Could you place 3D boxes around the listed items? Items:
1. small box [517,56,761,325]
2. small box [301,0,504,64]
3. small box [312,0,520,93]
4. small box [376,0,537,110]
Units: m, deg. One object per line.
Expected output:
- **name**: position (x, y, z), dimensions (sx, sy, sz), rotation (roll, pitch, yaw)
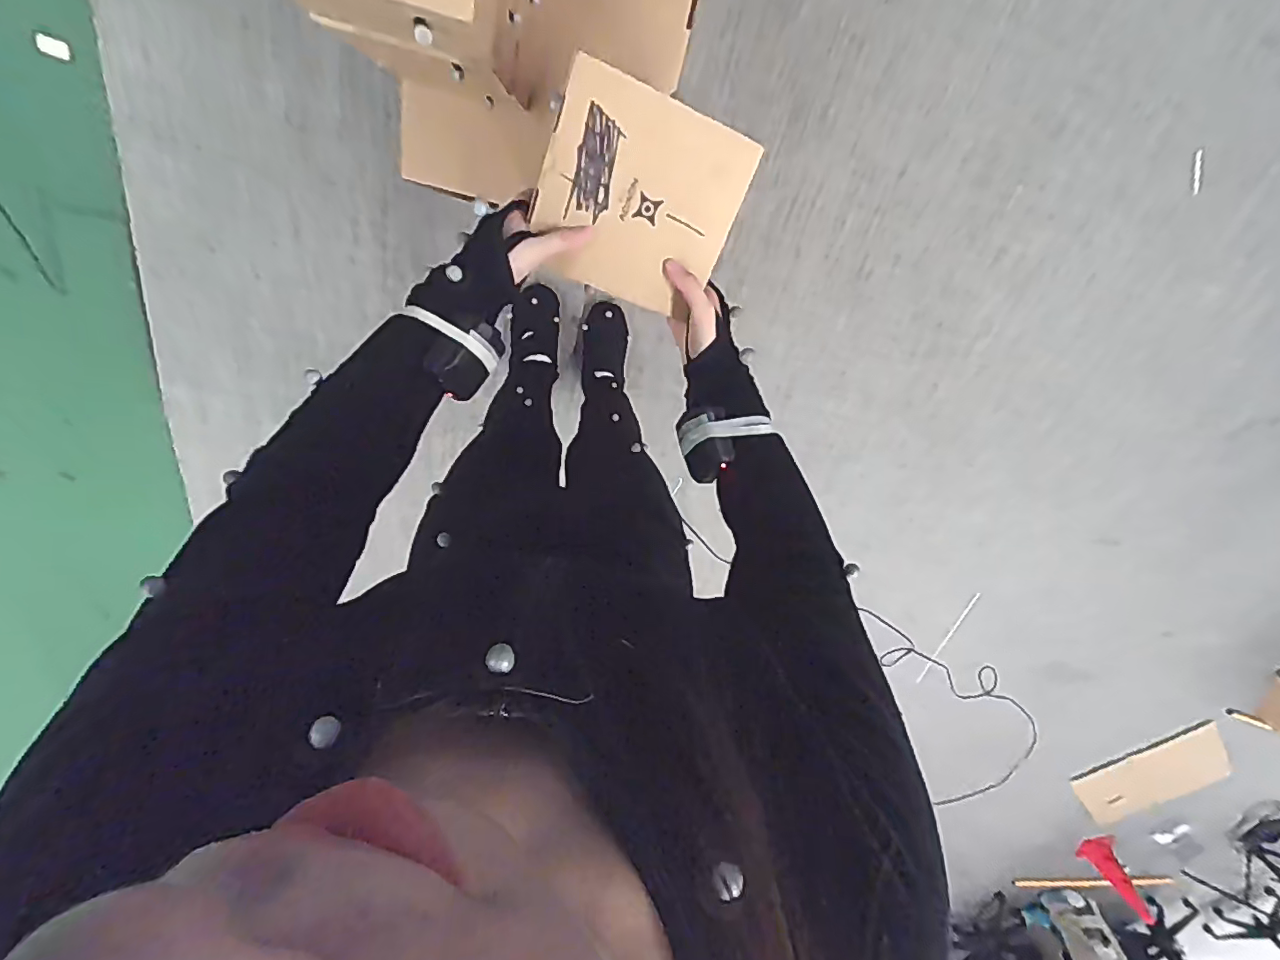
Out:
- **small box**: position (-0.013, -0.283, 0.552), dimensions (0.179, 0.176, 0.168), rotation (17, 116, -17)
- **small box**: position (-0.198, -0.466, 0.433), dimensions (0.179, 0.176, 0.168), rotation (10, 116, -12)
- **small box**: position (-0.225, -0.541, 0.577), dimensions (0.179, 0.176, 0.168), rotation (8, 116, -12)
- **small box**: position (-0.236, -0.615, 0.722), dimensions (0.179, 0.176, 0.168), rotation (8, 117, -10)
